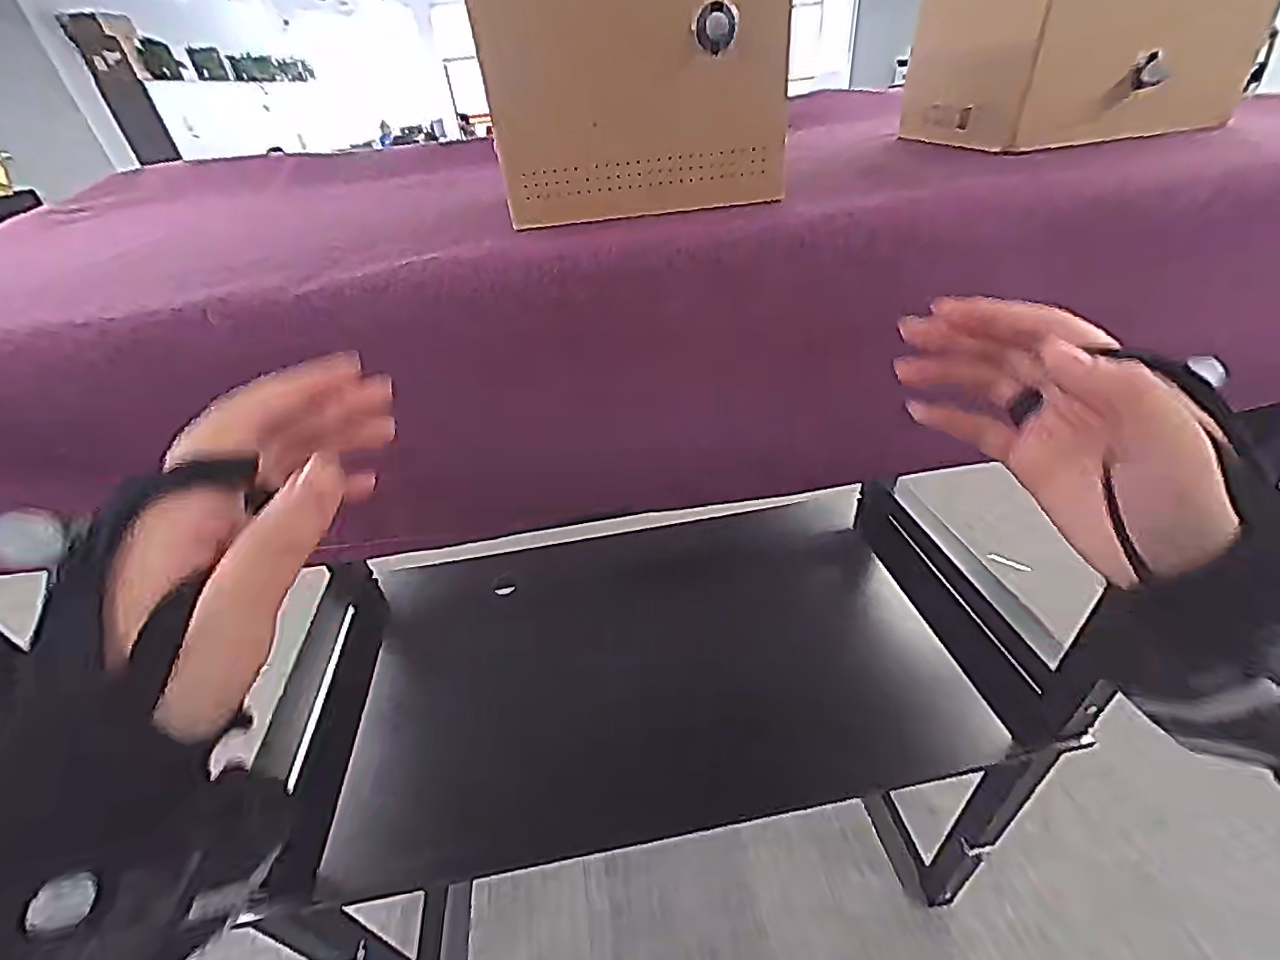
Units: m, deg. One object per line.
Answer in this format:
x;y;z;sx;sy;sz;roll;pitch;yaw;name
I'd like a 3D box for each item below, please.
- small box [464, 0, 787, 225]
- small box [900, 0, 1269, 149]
-0.007;-0.282;0.359;0.179;0.176;0.168;-7;36;1;small box
0.333;-0.366;0.414;0.179;0.176;0.168;-9;36;-3;small box
